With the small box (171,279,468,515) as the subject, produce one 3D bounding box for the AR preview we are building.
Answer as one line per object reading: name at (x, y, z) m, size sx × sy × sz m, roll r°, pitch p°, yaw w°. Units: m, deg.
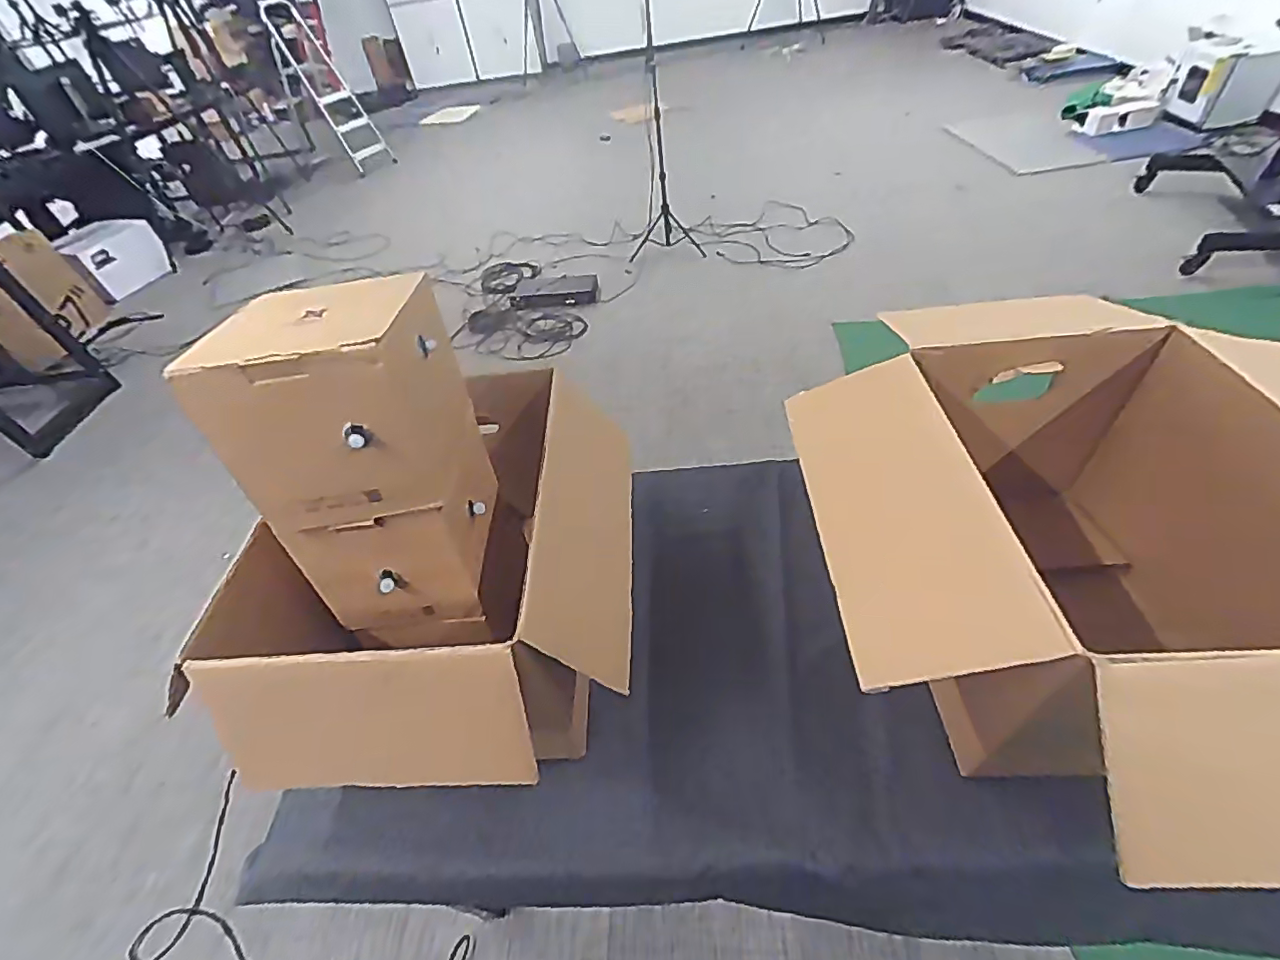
small box at (-0.283, -0.079, 0.532) m, size 0.168 × 0.176 × 0.179 m, roll -7°, pitch 37°, yaw -1°
